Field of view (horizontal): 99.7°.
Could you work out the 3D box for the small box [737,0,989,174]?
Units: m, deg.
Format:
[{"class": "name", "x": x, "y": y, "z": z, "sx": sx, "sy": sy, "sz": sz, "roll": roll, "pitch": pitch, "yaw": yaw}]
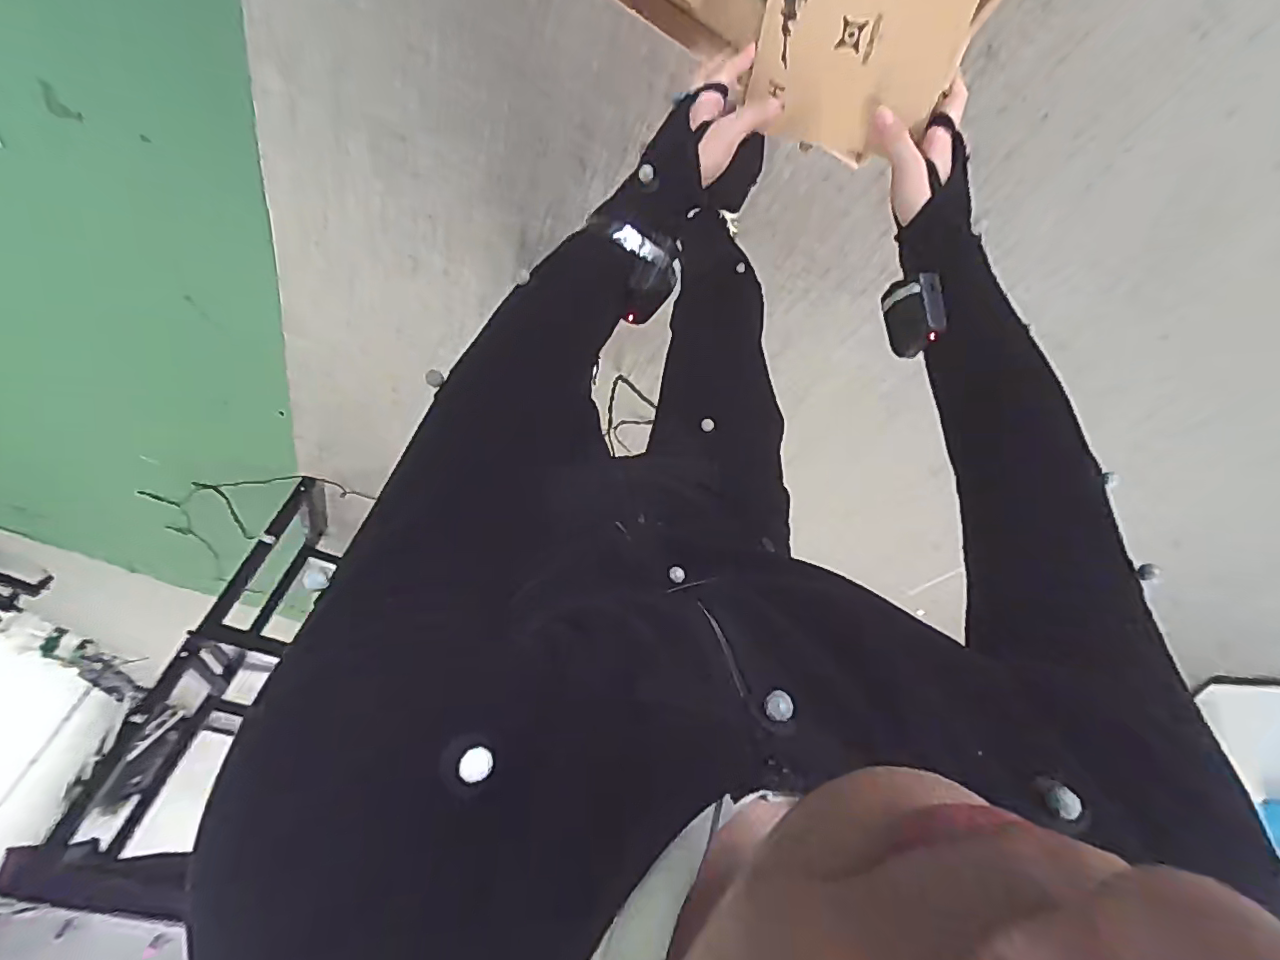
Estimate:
[{"class": "small box", "x": 0.202, "y": -0.421, "z": 0.533, "sx": 0.179, "sy": 0.176, "sz": 0.168, "roll": 12, "pitch": 127, "yaw": 0}]
